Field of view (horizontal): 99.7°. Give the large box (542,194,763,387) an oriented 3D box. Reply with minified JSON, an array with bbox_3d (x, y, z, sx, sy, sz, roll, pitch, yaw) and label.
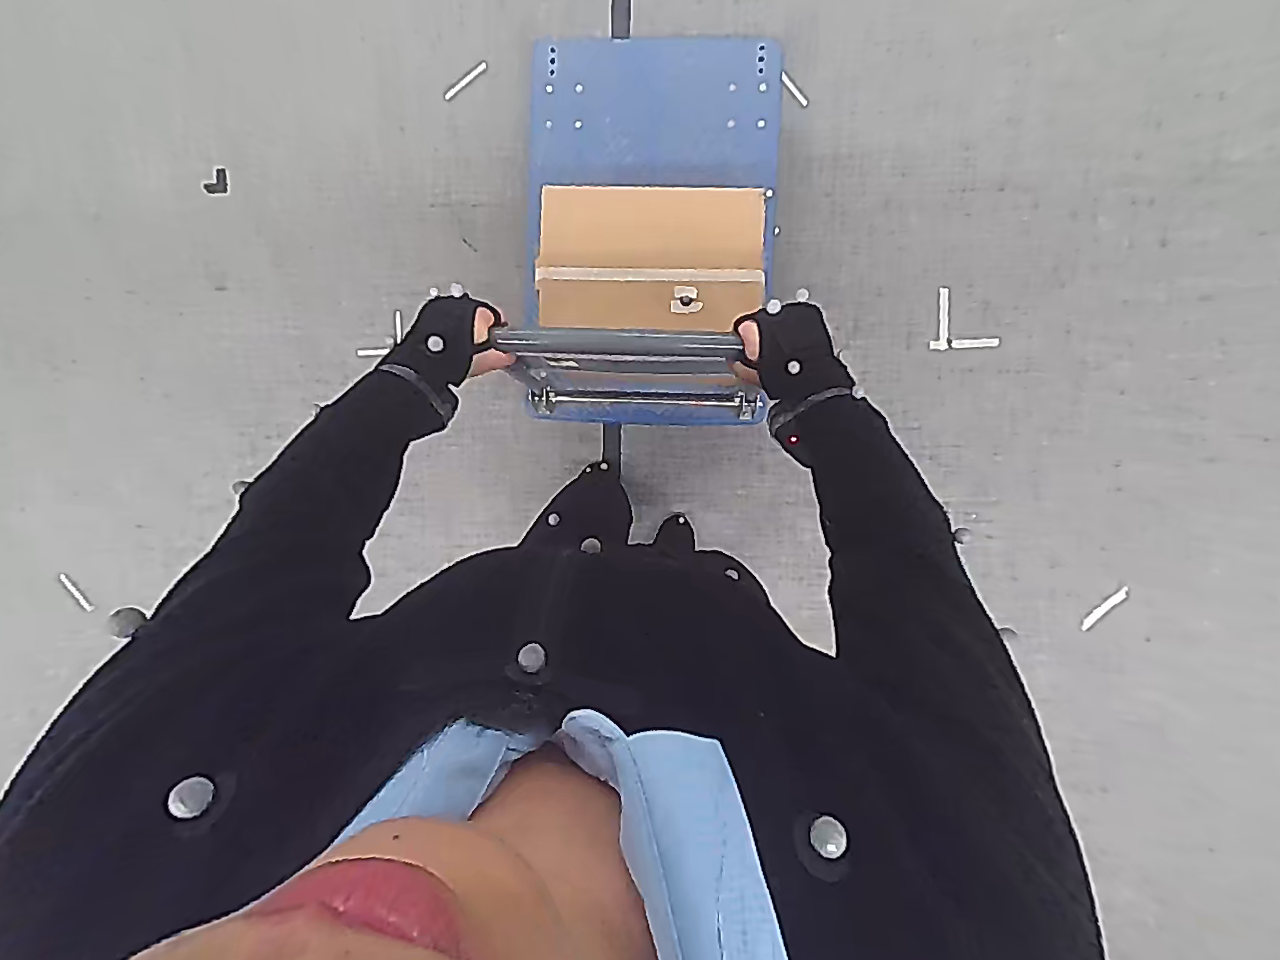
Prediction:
[{"bbox_3d":[0.023,-0.367,1.127,0.408,0.320,0.320,2,94,2],"label":"large box"}]
